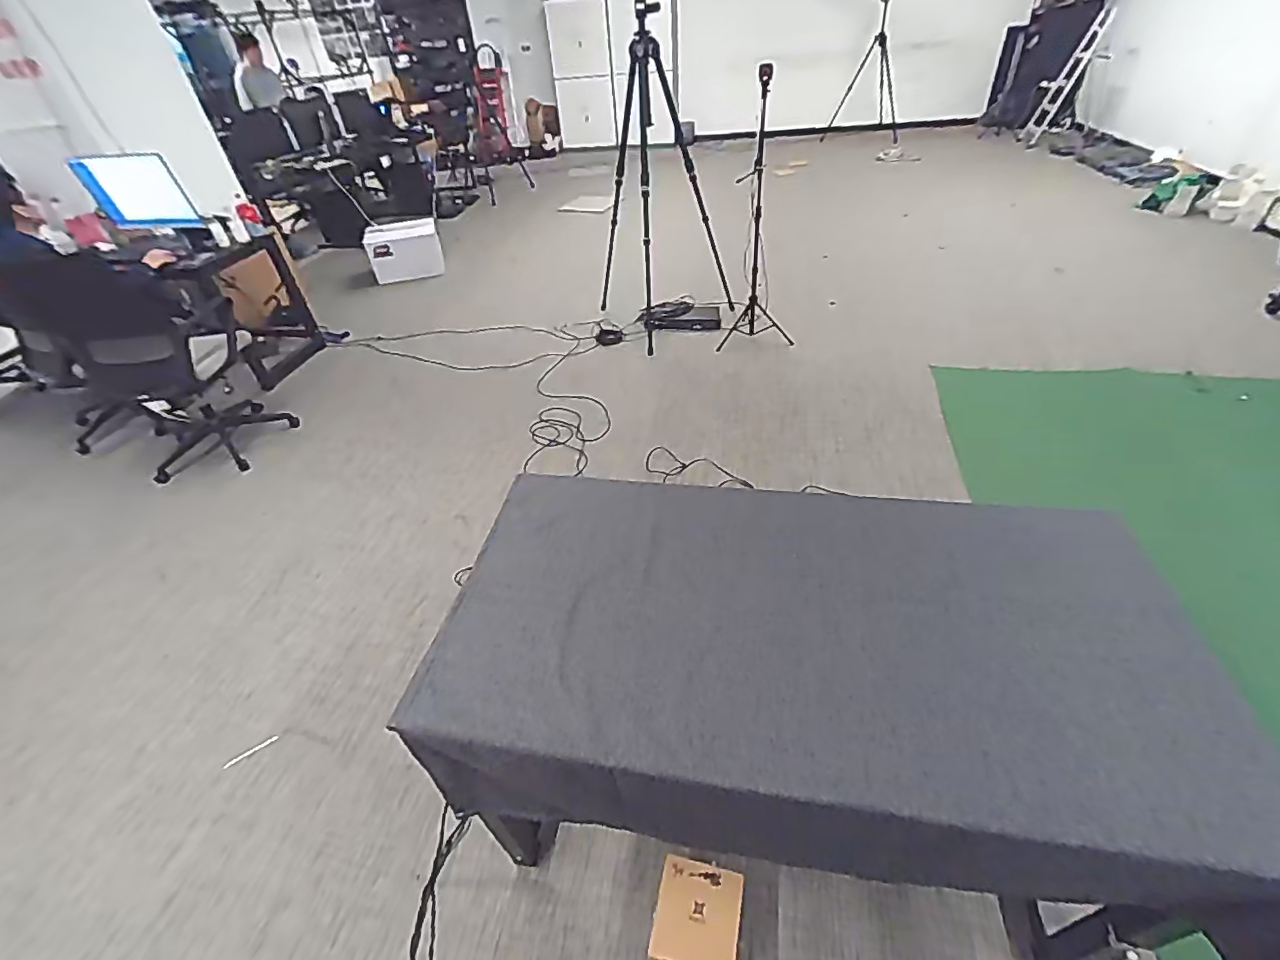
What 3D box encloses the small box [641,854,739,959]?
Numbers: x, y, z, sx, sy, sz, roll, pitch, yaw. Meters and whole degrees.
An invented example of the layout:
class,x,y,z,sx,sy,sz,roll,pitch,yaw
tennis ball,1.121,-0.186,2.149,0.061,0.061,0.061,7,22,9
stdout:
class,x,y,z,sx,sy,sz,roll,pitch,yaw
small box,0.109,0.912,1.107,0.168,0.176,0.179,6,42,15
